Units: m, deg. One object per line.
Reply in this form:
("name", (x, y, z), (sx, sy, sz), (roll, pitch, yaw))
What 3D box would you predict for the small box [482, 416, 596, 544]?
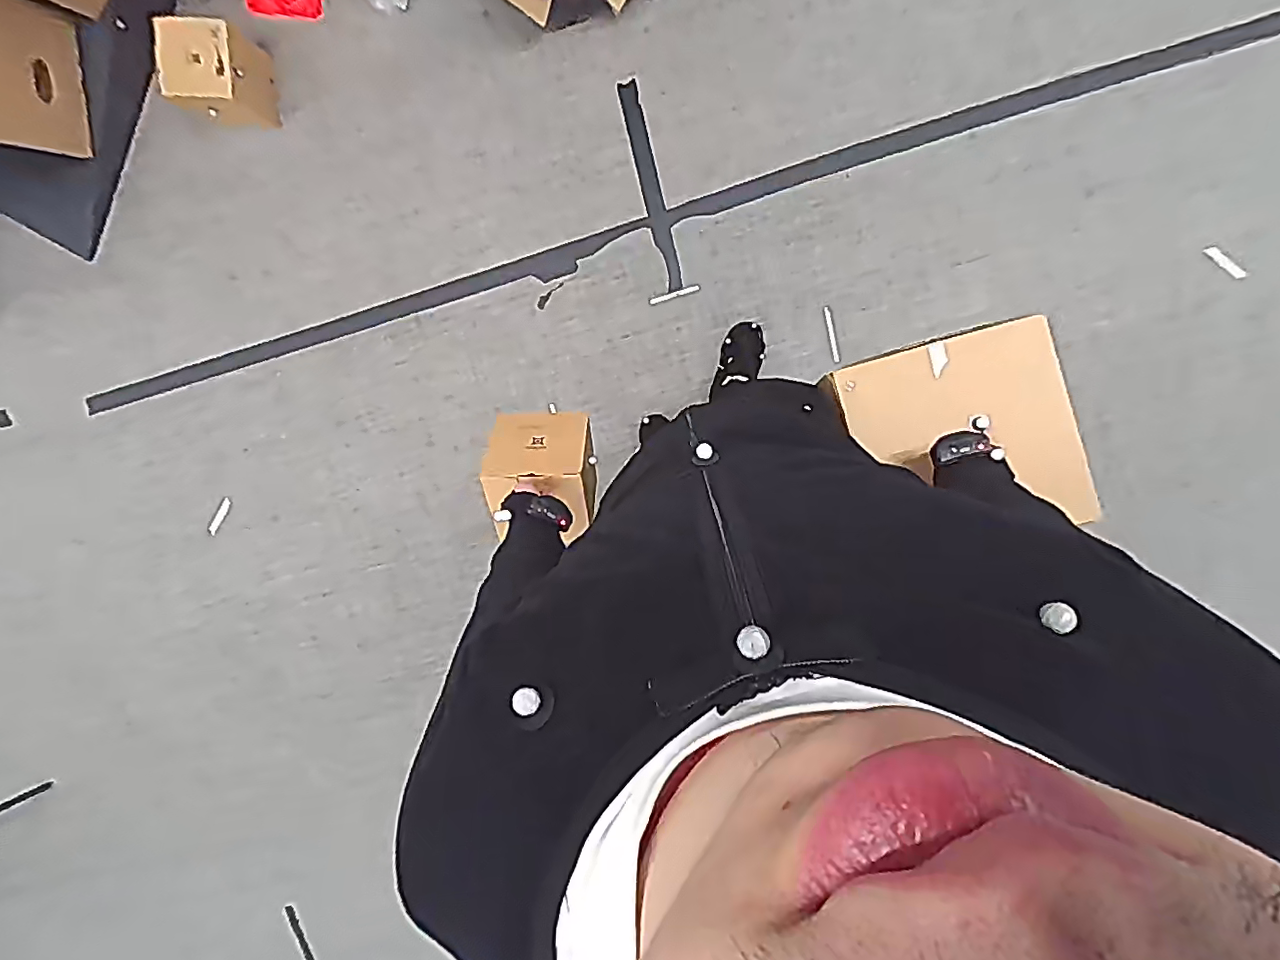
("small box", (-0.171, 0.004, 0.984), (0.168, 0.179, 0.176), (-1, 132, 1))
